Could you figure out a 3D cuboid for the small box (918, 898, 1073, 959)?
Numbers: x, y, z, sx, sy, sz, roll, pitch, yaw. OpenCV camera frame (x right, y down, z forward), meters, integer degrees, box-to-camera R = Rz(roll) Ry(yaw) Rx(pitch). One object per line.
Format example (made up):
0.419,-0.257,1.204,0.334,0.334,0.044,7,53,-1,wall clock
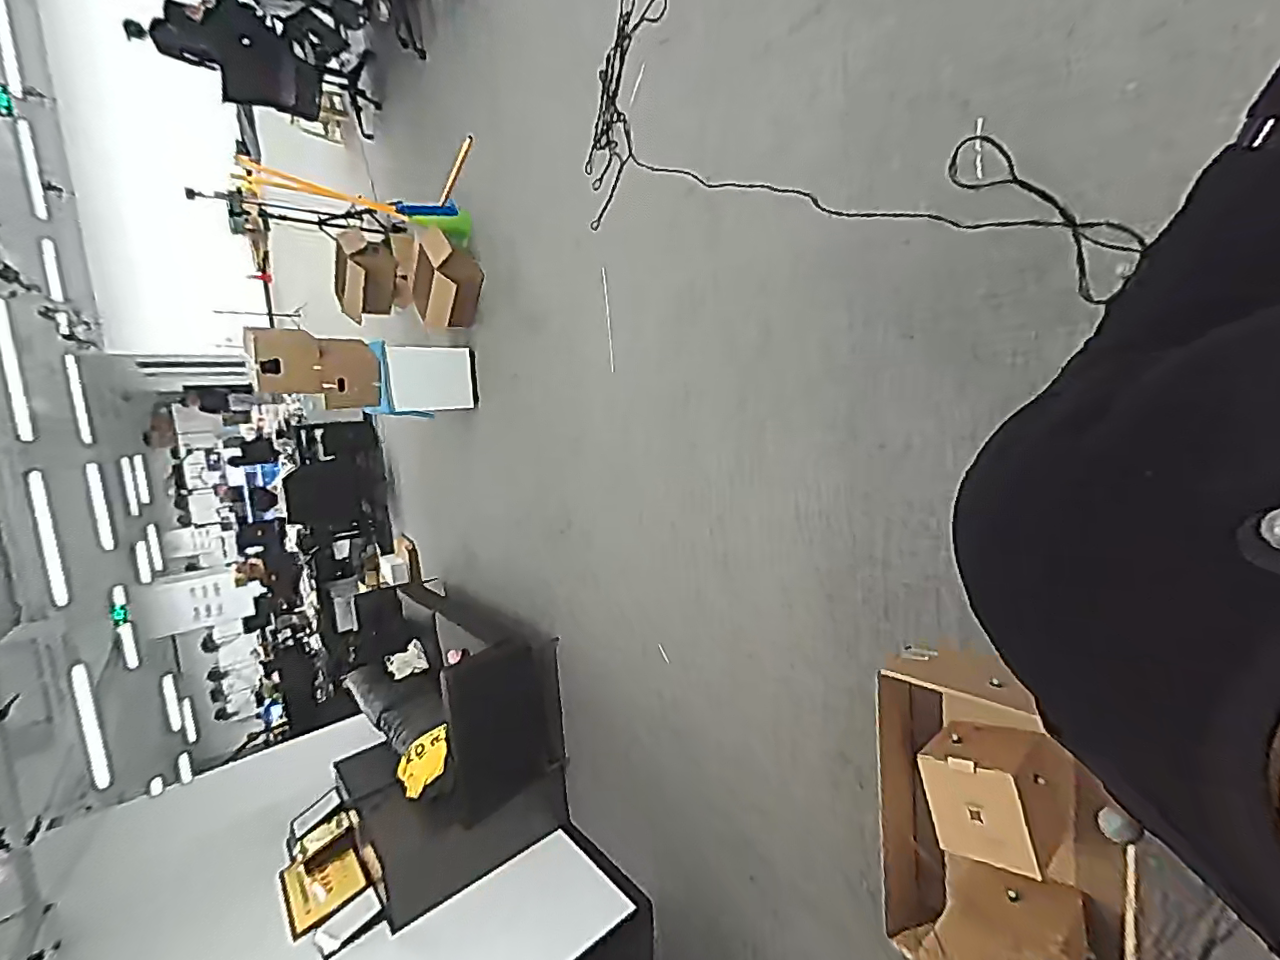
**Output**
0.589,0.846,0.891,0.179,0.176,0.168,-5,94,50,small box

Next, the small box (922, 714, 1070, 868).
0.661,0.560,1.005,0.168,0.176,0.179,-18,84,52,small box
